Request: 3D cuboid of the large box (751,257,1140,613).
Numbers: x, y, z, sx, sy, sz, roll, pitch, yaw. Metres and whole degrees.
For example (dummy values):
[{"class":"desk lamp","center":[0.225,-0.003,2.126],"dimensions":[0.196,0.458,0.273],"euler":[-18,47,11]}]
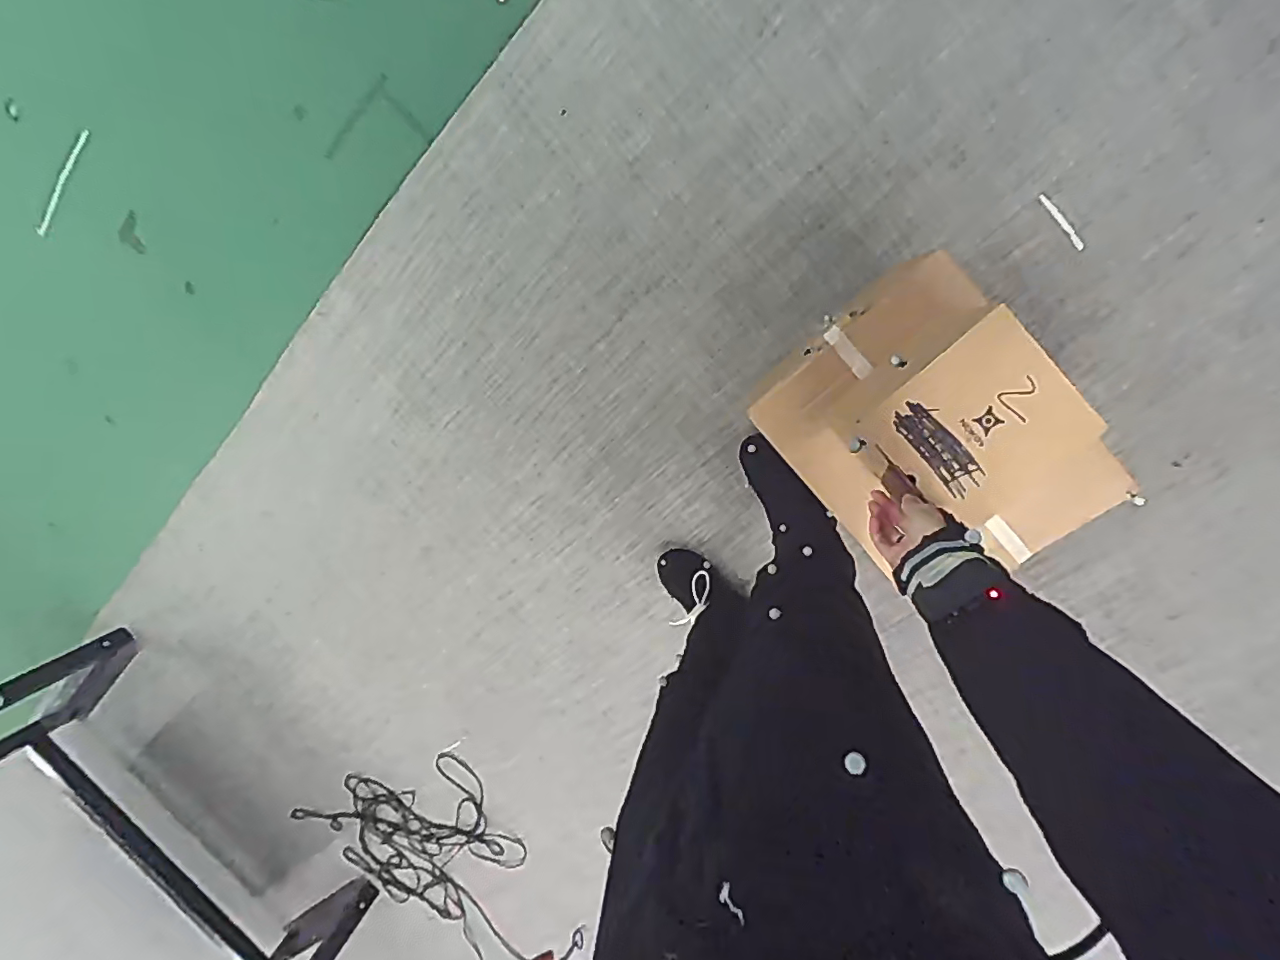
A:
[{"class":"large box","center":[0.425,-0.082,0.862],"dimensions":[0.320,0.320,0.408],"euler":[-41,94,21]}]
